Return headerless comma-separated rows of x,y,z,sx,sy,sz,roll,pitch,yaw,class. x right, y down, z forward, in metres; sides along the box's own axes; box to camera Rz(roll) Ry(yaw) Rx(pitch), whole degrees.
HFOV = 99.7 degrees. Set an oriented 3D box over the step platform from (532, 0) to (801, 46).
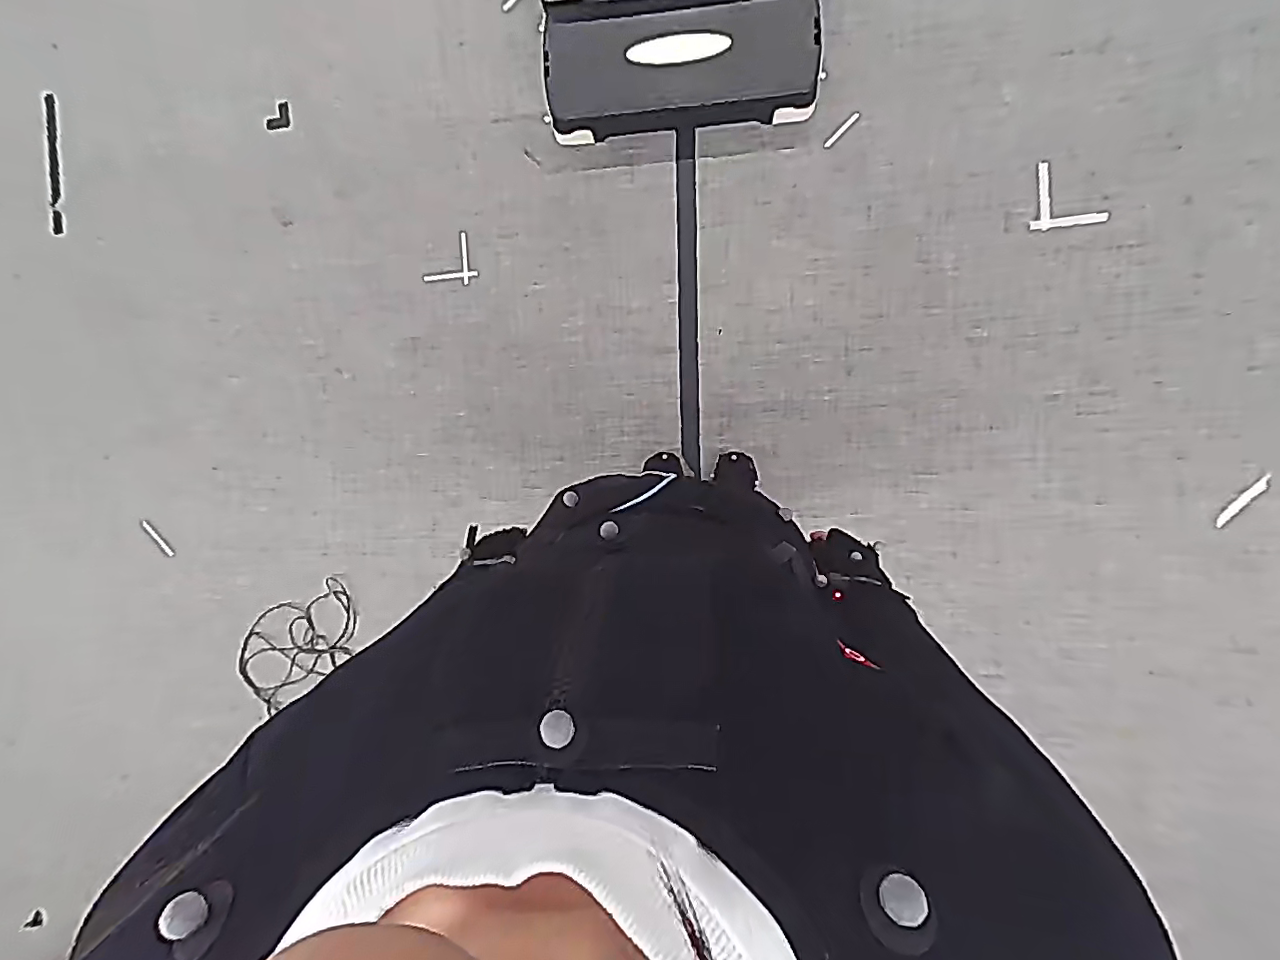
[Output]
0.060,-1.283,1.280,0.684,0.204,0.286,-3,94,6,step platform
